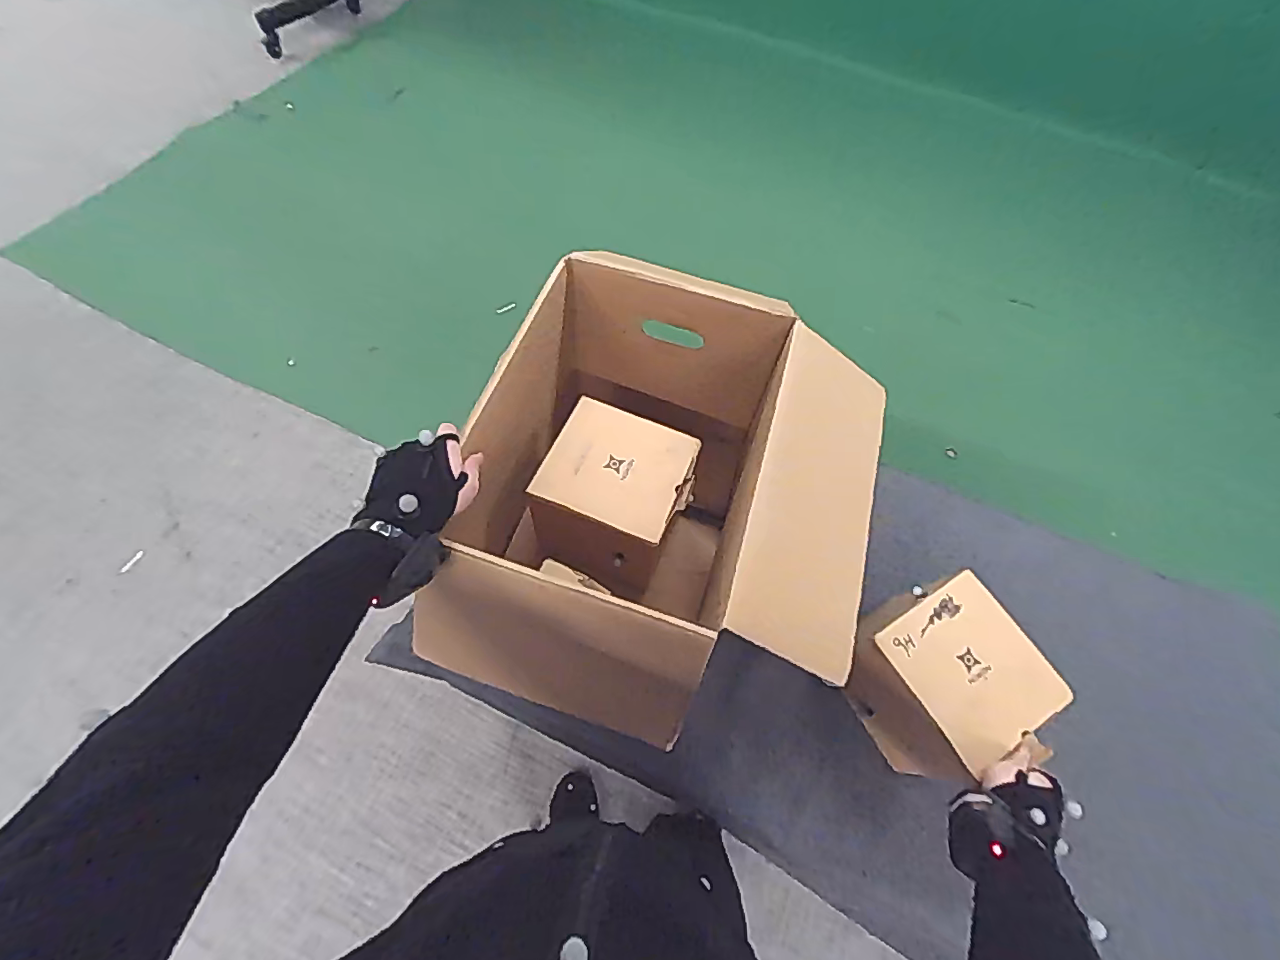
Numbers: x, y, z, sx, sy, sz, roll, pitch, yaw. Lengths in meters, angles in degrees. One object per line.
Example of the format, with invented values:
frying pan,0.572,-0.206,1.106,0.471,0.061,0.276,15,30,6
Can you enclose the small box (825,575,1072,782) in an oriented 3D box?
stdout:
small box,0.375,0.248,0.692,0.168,0.176,0.179,-26,71,-14
